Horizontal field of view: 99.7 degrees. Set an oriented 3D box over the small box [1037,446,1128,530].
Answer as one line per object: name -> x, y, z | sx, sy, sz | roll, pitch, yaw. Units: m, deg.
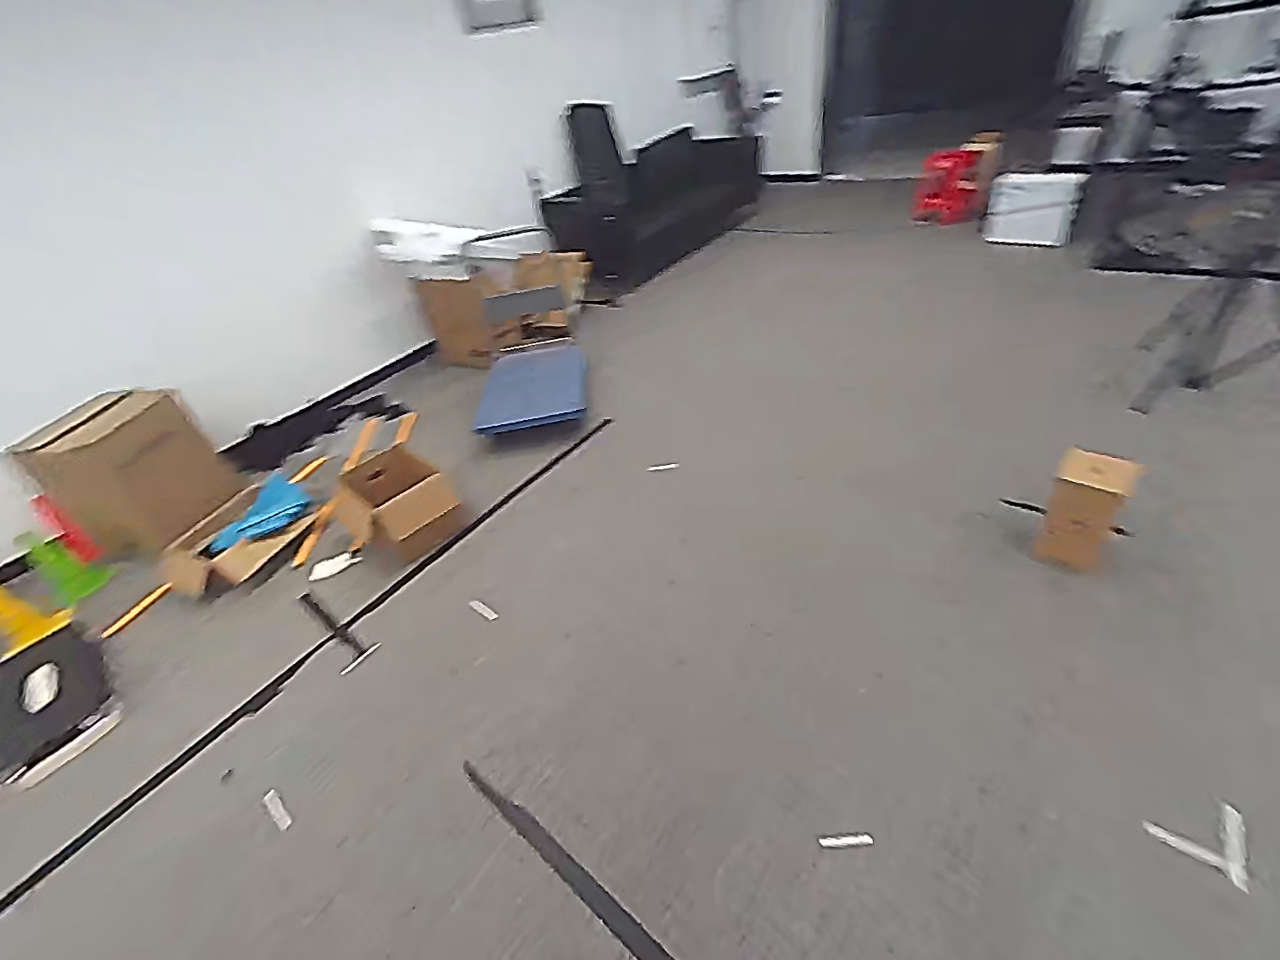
small box -> 1.362, 0.026, 1.674 | 0.168, 0.176, 0.179 | 24, 49, 37
